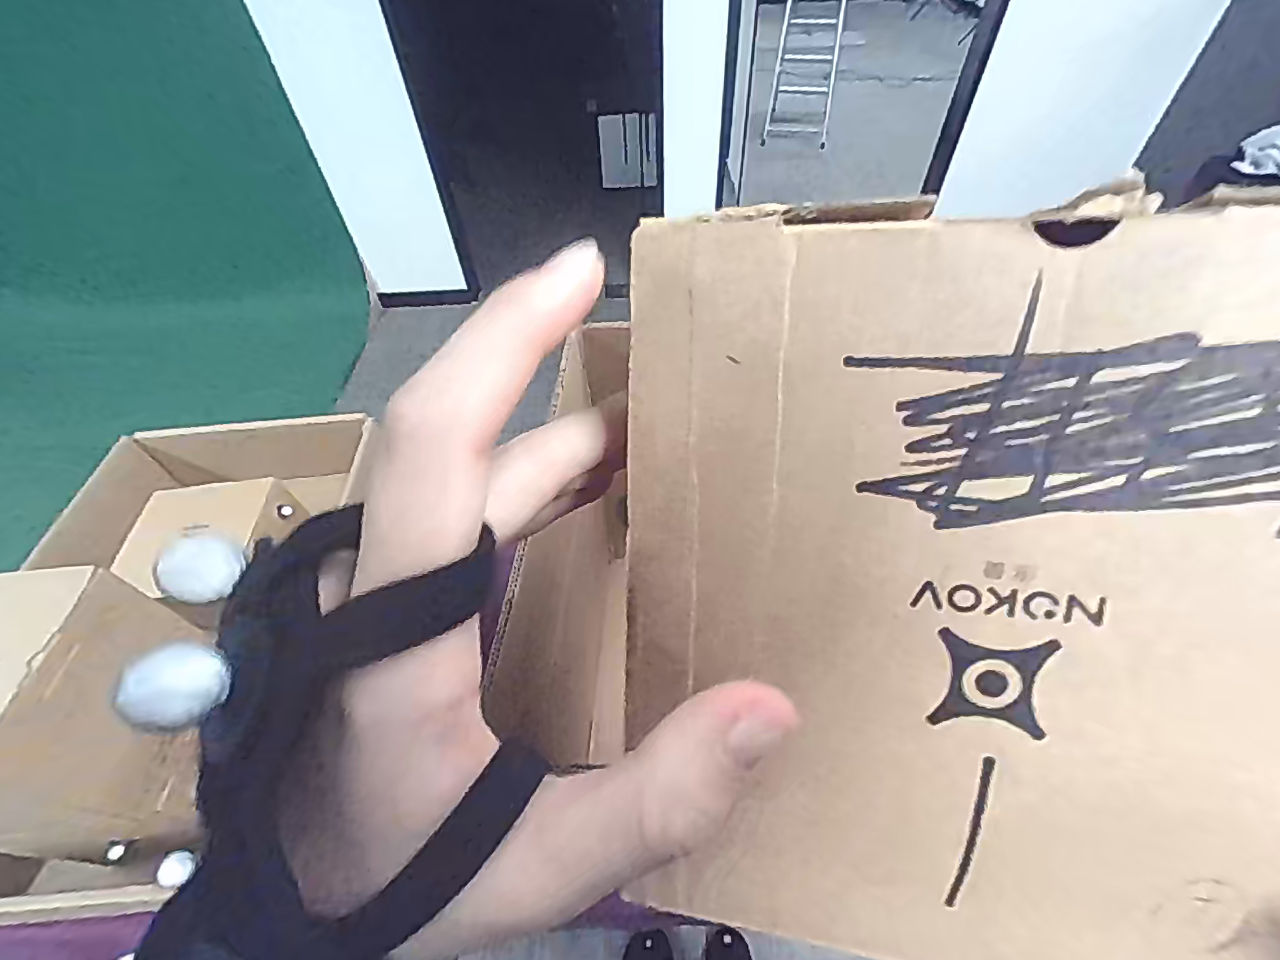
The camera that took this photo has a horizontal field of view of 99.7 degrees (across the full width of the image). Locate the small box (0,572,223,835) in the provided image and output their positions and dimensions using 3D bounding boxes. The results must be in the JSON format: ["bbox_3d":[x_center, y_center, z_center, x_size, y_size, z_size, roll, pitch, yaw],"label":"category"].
[{"bbox_3d":[-0.530,0.199,0.470,0.179,0.176,0.168,-5,50,0],"label":"small box"}]

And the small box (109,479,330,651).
[{"bbox_3d":[-0.565,0.126,0.750,0.168,0.176,0.179,-7,50,-1],"label":"small box"}]

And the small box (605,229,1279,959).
[{"bbox_3d":[0.089,0.024,0.197,0.168,0.179,0.176,4,12,11],"label":"small box"}]
